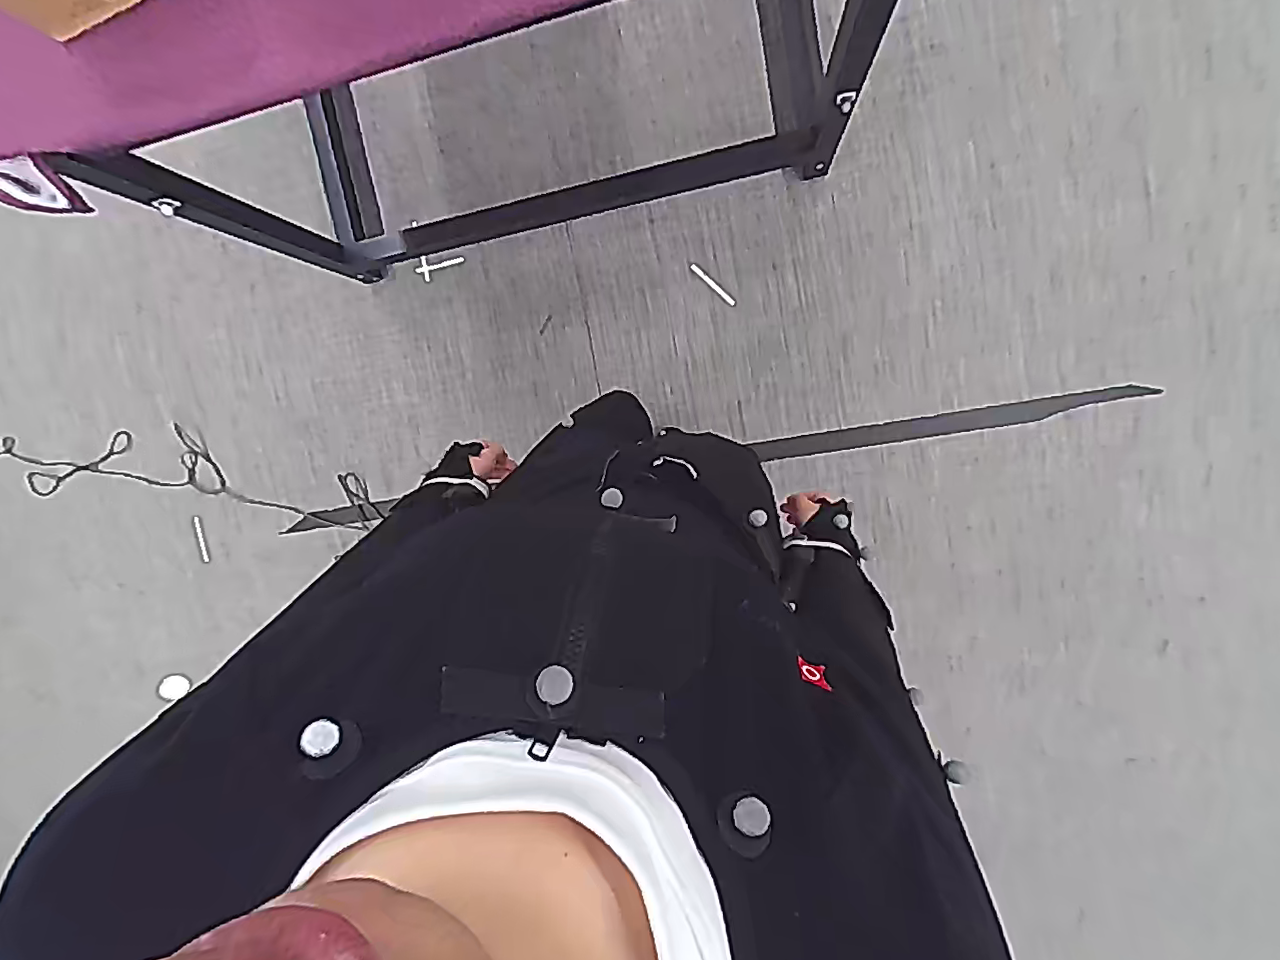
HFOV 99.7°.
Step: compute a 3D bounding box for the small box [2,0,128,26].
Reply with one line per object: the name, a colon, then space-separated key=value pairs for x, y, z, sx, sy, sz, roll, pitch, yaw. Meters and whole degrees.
small box: x=-0.681 y=-0.642 z=0.577 sx=0.168 sy=0.176 sz=0.179 roll=-16 pitch=93 yaw=10
